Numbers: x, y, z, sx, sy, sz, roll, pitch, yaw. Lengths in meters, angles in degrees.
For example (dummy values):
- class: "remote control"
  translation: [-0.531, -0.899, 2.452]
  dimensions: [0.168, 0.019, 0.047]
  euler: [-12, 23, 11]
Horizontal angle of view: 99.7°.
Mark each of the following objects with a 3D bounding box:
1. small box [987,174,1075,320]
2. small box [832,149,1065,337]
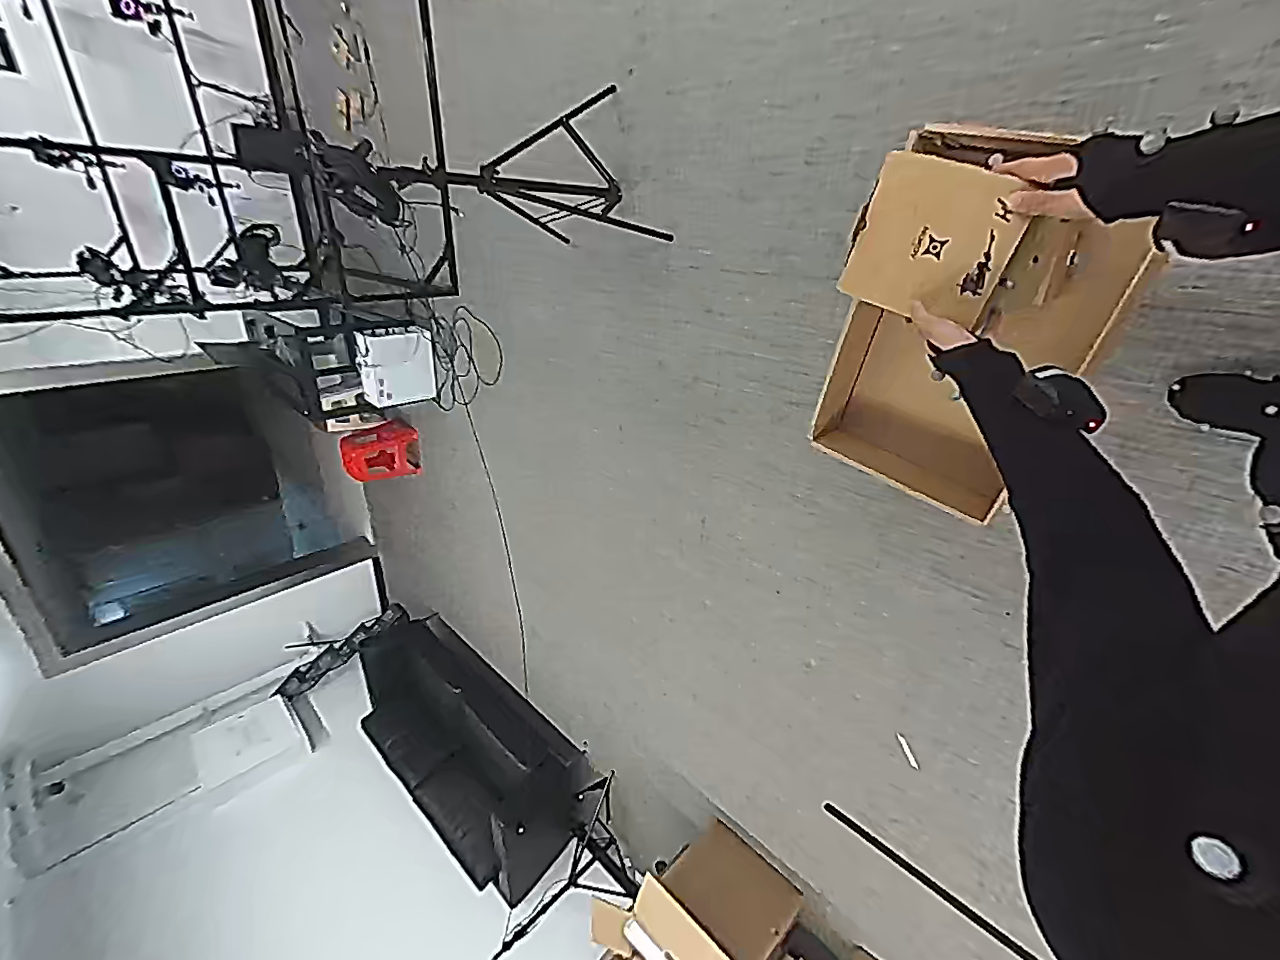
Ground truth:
- class: "small box"
  translation: [0.499, -0.350, 0.796]
  dimensions: [0.168, 0.176, 0.179]
  euler: [31, 128, 36]
- class: "small box"
  translation: [0.382, -0.298, 0.678]
  dimensions: [0.179, 0.176, 0.168]
  euler: [36, 132, 29]
